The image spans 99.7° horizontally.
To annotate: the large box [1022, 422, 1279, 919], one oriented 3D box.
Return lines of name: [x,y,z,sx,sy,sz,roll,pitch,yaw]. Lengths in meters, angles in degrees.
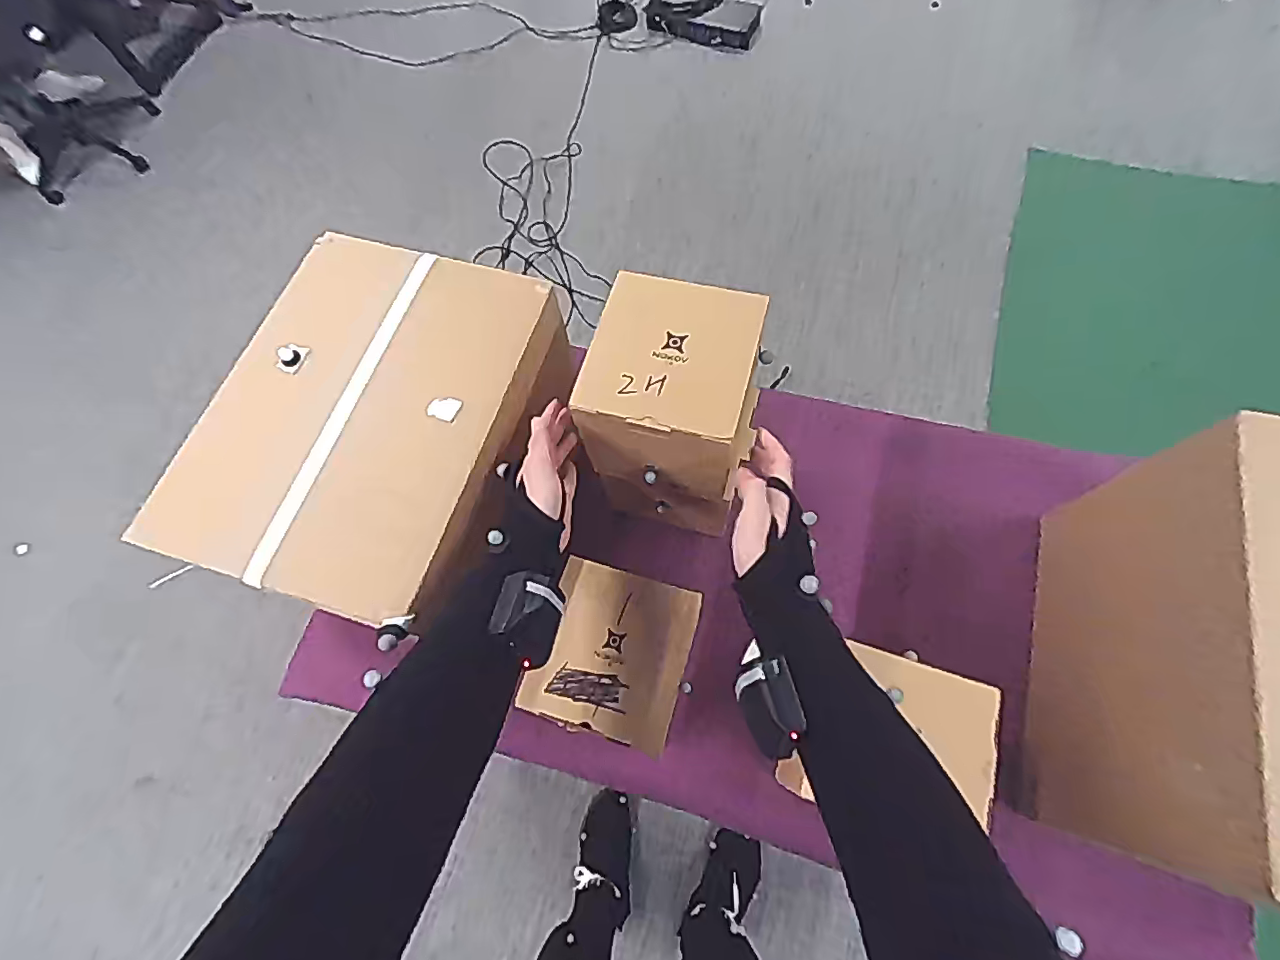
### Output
large box: [0.645,0.213,0.547,0.320,0.320,0.408,16,70,12]

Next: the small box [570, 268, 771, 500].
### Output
small box: [0.038,-0.101,0.610,0.168,0.176,0.179,14,70,11]

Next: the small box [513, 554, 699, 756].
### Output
small box: [-0.029,0.215,0.666,0.168,0.176,0.179,16,68,10]
